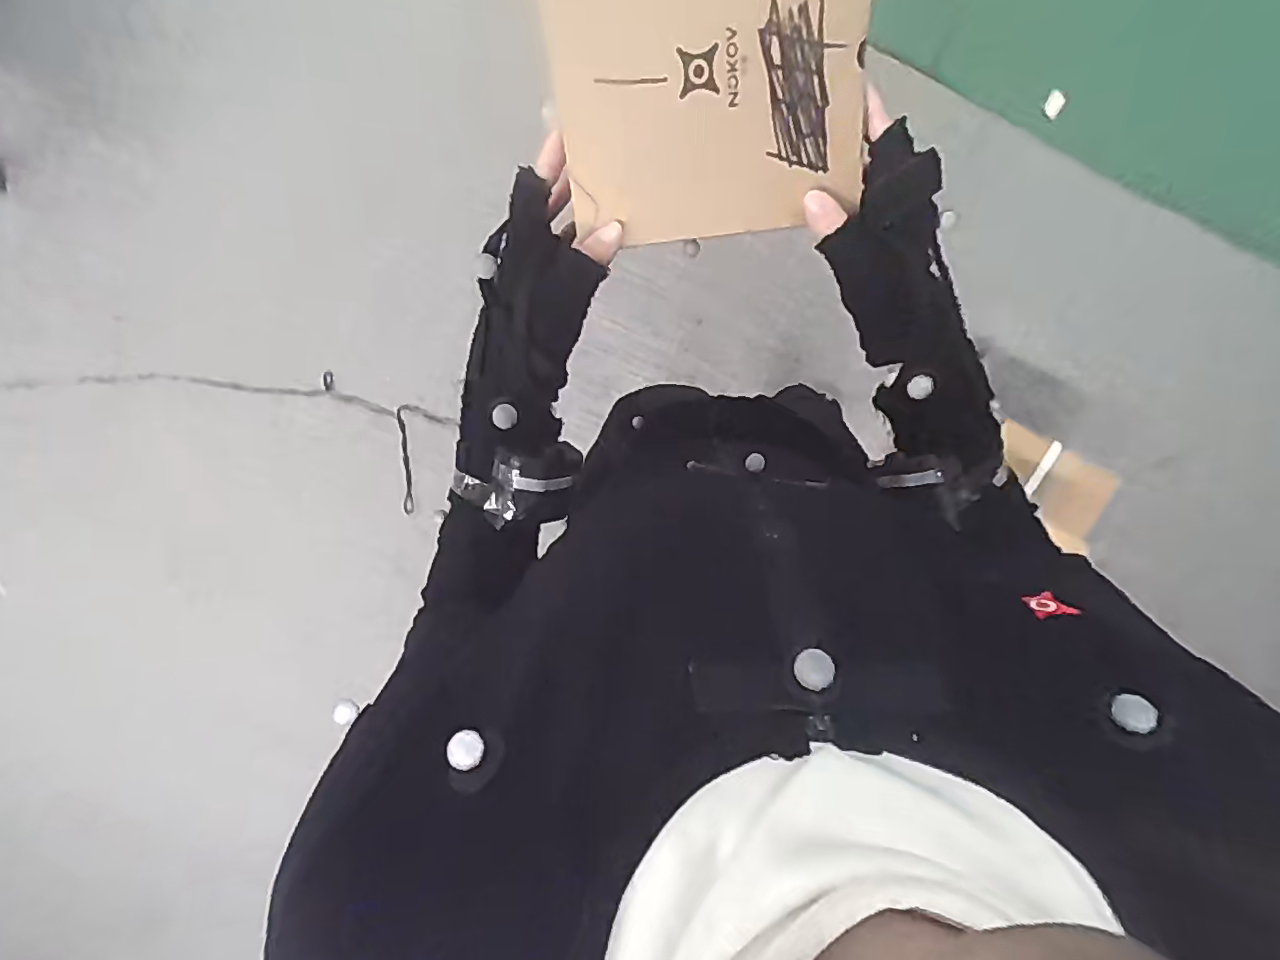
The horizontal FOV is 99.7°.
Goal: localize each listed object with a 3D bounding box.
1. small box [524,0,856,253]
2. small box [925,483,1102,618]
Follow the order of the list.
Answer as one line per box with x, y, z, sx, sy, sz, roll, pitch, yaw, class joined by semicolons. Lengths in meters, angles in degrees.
0.028;-0.259;0.367;0.179;0.176;0.168;-8;116;2;small box
0.677;0.118;1.007;0.179;0.176;0.168;30;102;0;small box
